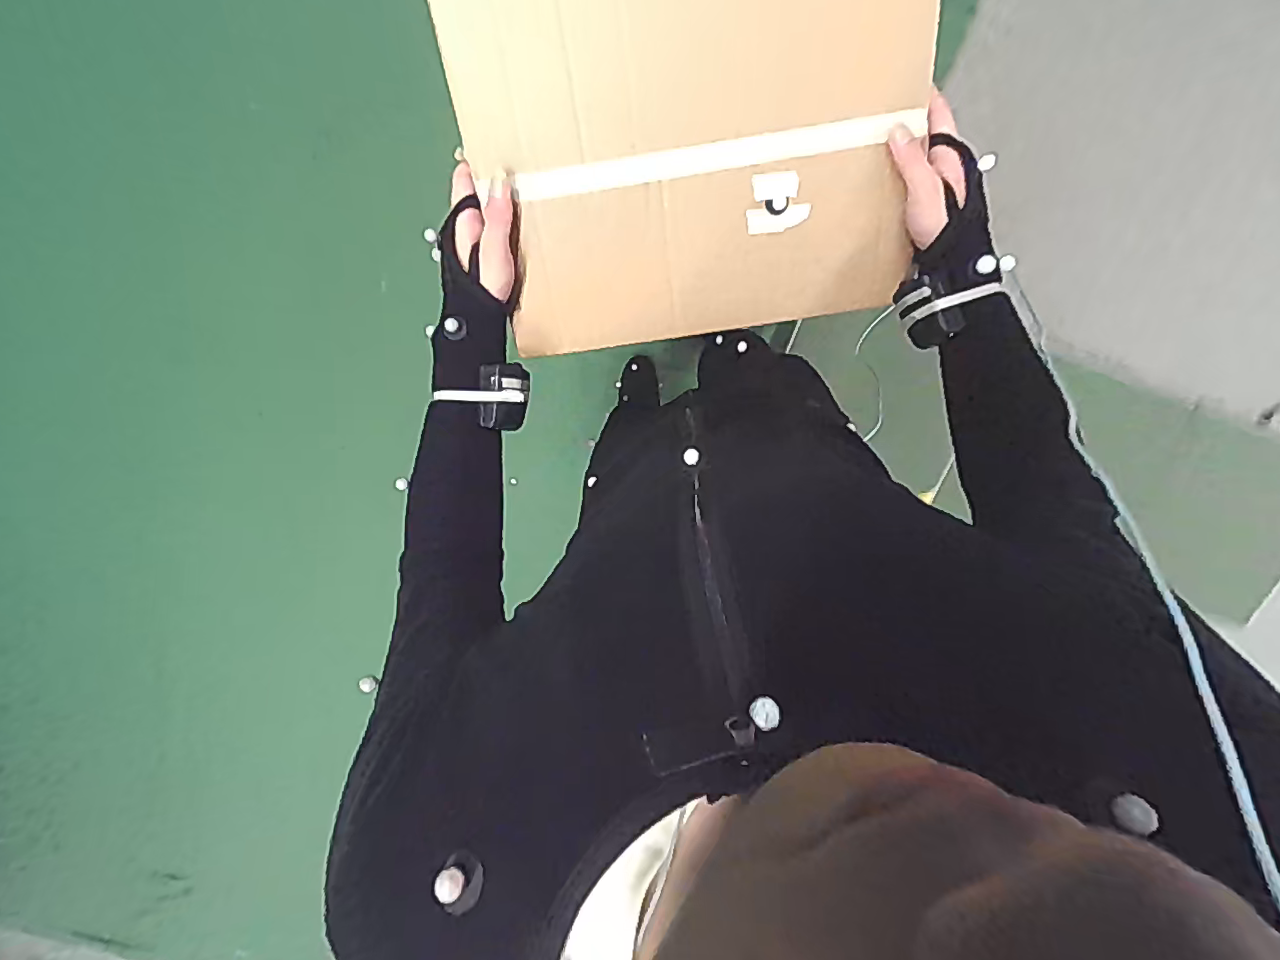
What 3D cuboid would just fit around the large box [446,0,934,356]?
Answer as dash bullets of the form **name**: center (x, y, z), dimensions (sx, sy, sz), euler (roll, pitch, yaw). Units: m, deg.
- **large box**: center (0.050, -0.361, 0.626), dimensions (0.408, 0.320, 0.320), euler (-8, 119, 1)
